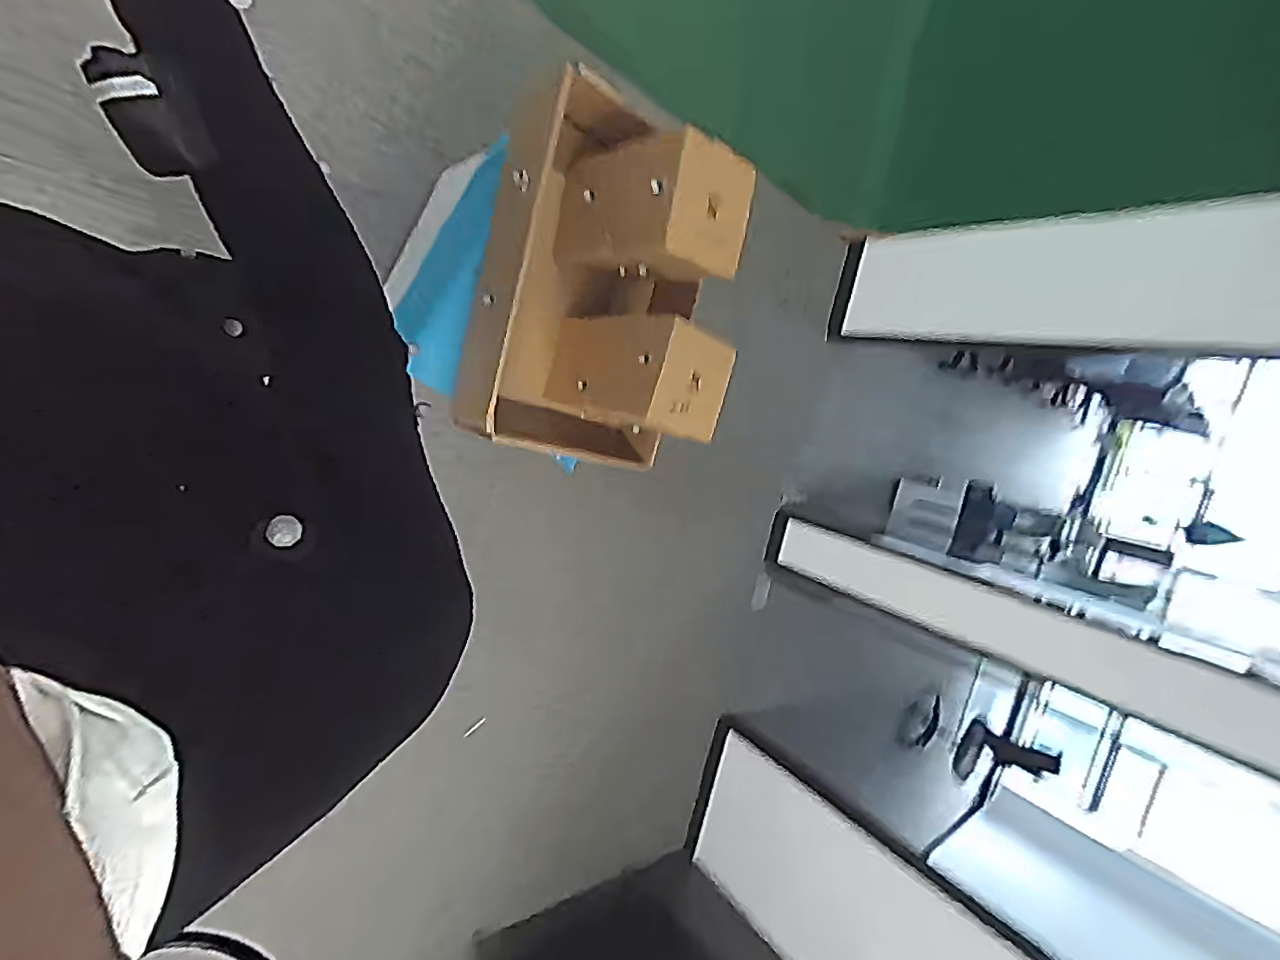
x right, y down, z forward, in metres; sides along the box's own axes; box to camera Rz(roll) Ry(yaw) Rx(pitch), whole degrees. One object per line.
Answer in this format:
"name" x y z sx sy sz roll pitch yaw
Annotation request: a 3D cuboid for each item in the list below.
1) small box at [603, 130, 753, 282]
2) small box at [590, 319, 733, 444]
"small box" 0.058 -0.445 0.910 0.168 0.176 0.179 3 104 -42
"small box" 0.034 -0.181 0.978 0.168 0.176 0.179 15 94 -43
